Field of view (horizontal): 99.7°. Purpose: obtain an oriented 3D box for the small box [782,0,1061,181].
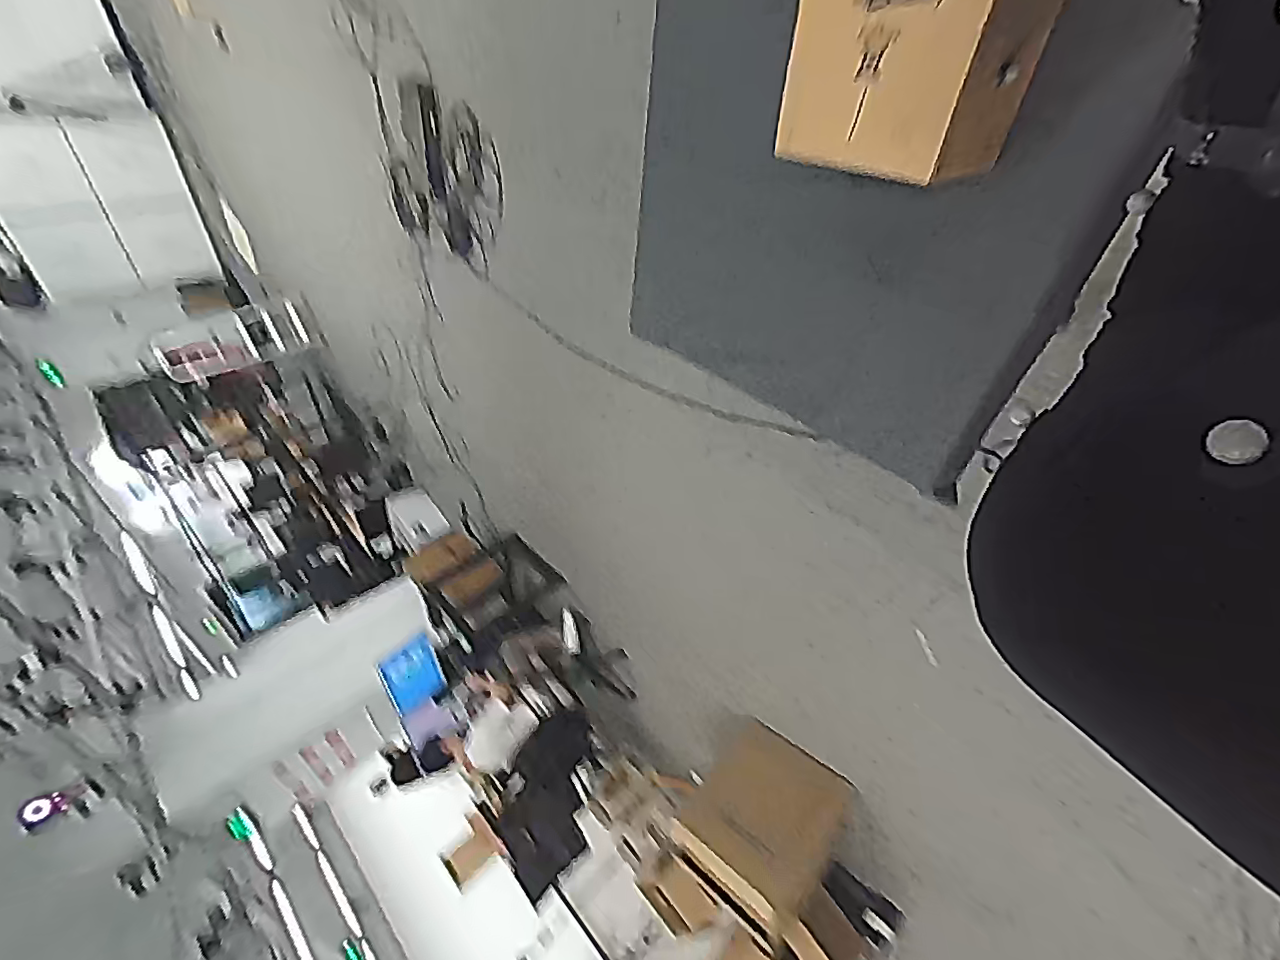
[{"bbox_3d":[0.263,-0.396,0.510,0.168,0.176,0.179,32,136,34],"label":"small box"}]
